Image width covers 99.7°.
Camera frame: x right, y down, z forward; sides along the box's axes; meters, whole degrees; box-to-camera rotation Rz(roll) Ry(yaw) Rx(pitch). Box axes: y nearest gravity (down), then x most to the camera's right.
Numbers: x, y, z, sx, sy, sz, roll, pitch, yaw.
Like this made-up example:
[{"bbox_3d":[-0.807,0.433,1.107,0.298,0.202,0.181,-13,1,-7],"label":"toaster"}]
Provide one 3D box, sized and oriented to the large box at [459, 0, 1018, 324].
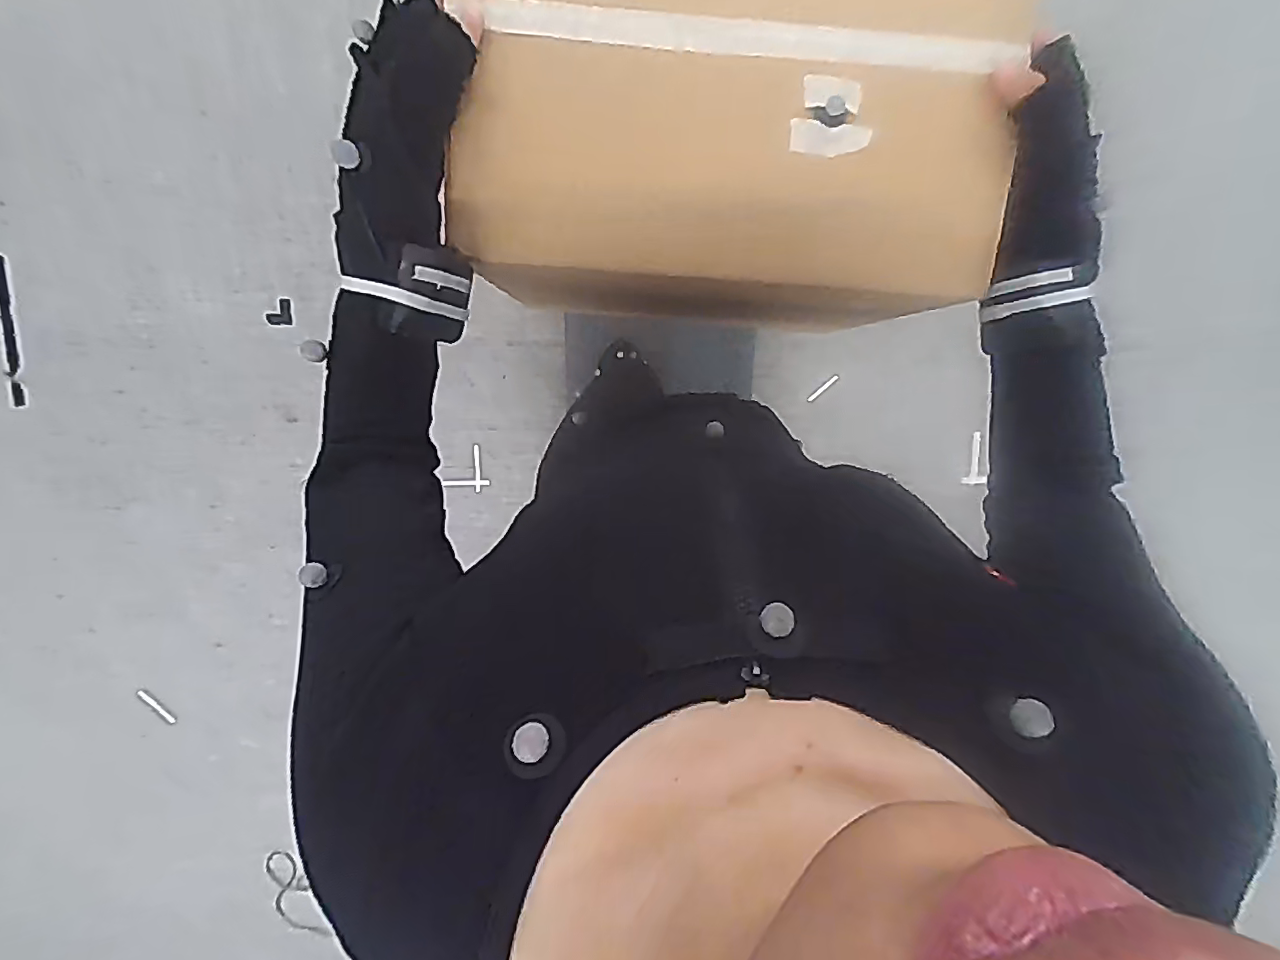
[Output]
[{"bbox_3d":[0.063,-0.338,0.534,0.408,0.320,0.320,3,101,-2],"label":"large box"}]
